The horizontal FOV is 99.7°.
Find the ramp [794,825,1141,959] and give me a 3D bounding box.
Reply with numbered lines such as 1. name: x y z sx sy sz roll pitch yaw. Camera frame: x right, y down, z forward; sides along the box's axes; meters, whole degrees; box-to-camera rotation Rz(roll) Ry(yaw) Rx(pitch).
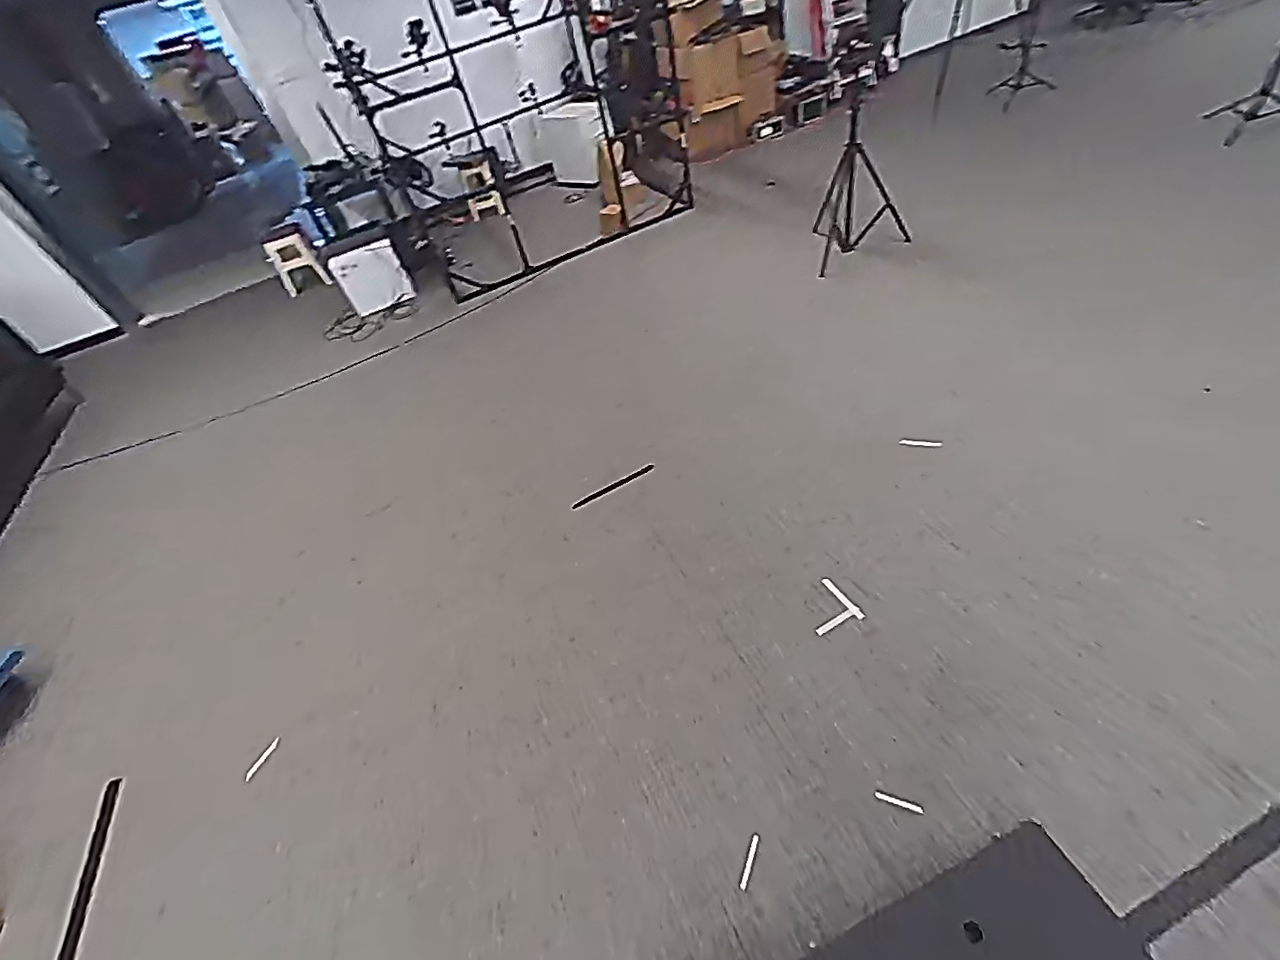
1. ramp: 0.533 1.082 0.967 0.991 0.206 0.509 -25 44 -9
